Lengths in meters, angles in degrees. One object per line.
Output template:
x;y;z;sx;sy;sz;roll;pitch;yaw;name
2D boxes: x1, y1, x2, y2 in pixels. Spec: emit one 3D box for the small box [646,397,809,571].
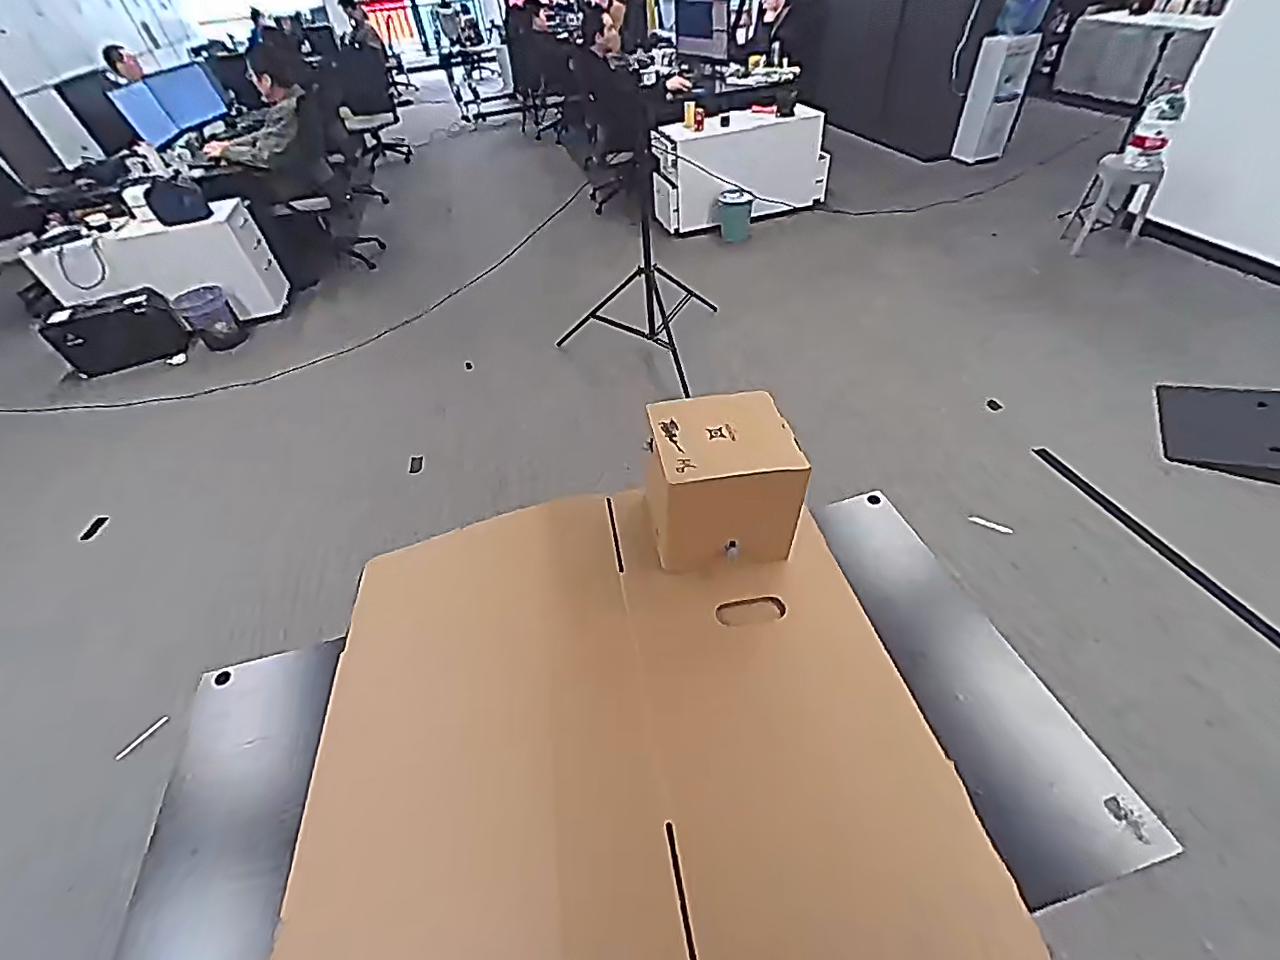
0.105;0.006;0.745;0.179;0.176;0.168;-6;42;-6;small box
